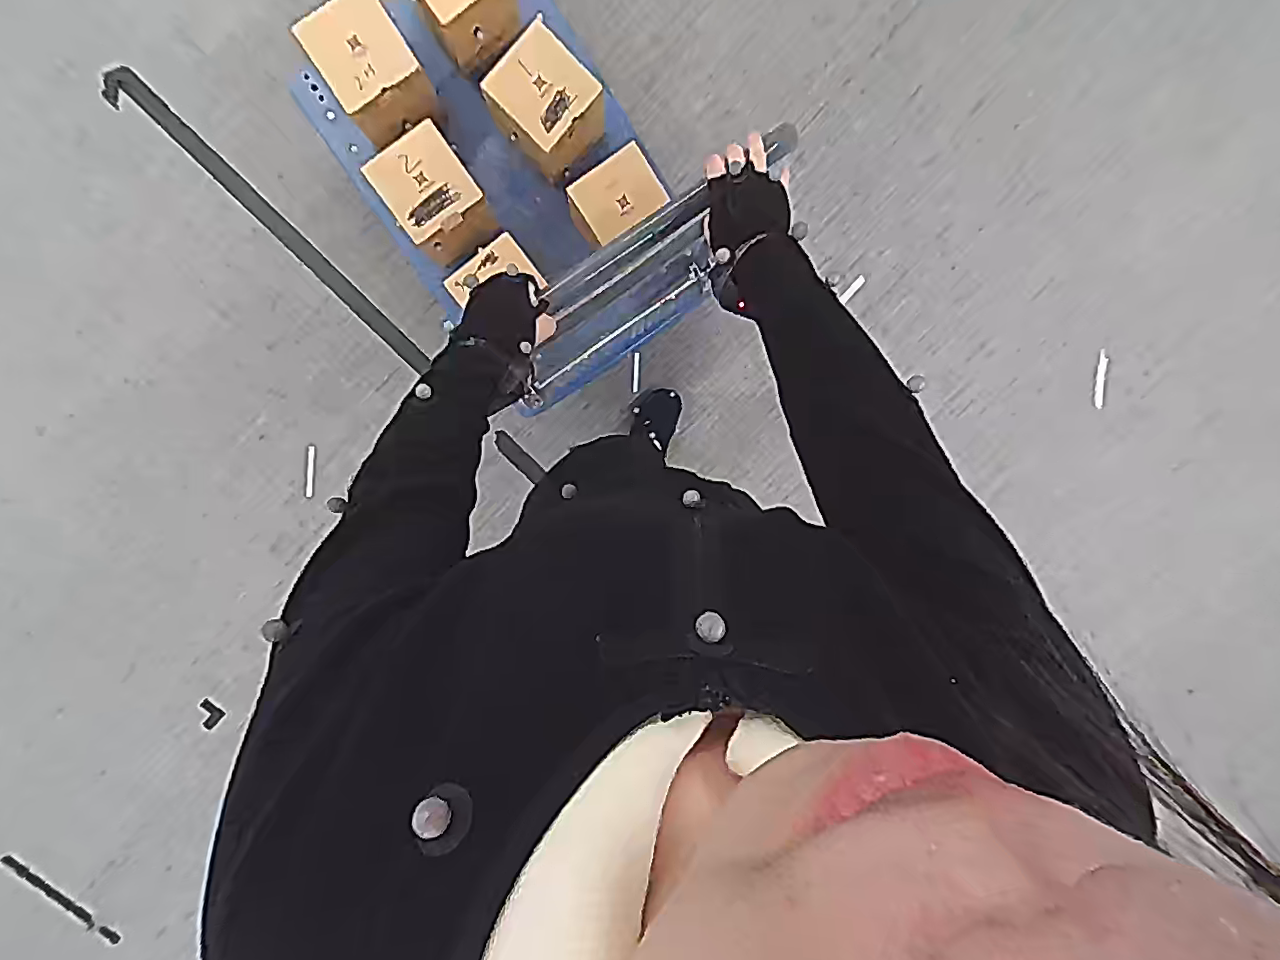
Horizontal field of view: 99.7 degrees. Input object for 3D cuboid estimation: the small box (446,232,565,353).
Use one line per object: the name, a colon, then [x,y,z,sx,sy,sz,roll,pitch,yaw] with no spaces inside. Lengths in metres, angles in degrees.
small box: [-0.276,-0.387,1.156,0.168,0.176,0.179,-39,99,1]

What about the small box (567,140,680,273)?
small box: [-0.035,-0.563,1.149,0.168,0.176,0.179,-35,98,1]

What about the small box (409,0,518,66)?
small box: [-0.363,-0.972,1.067,0.168,0.176,0.179,-38,99,2]

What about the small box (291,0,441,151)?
small box: [-0.532,-0.808,1.076,0.168,0.176,0.179,-33,100,1]

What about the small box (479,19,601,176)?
small box: [-0.194,-0.763,1.108,0.179,0.176,0.168,42,93,-7]
